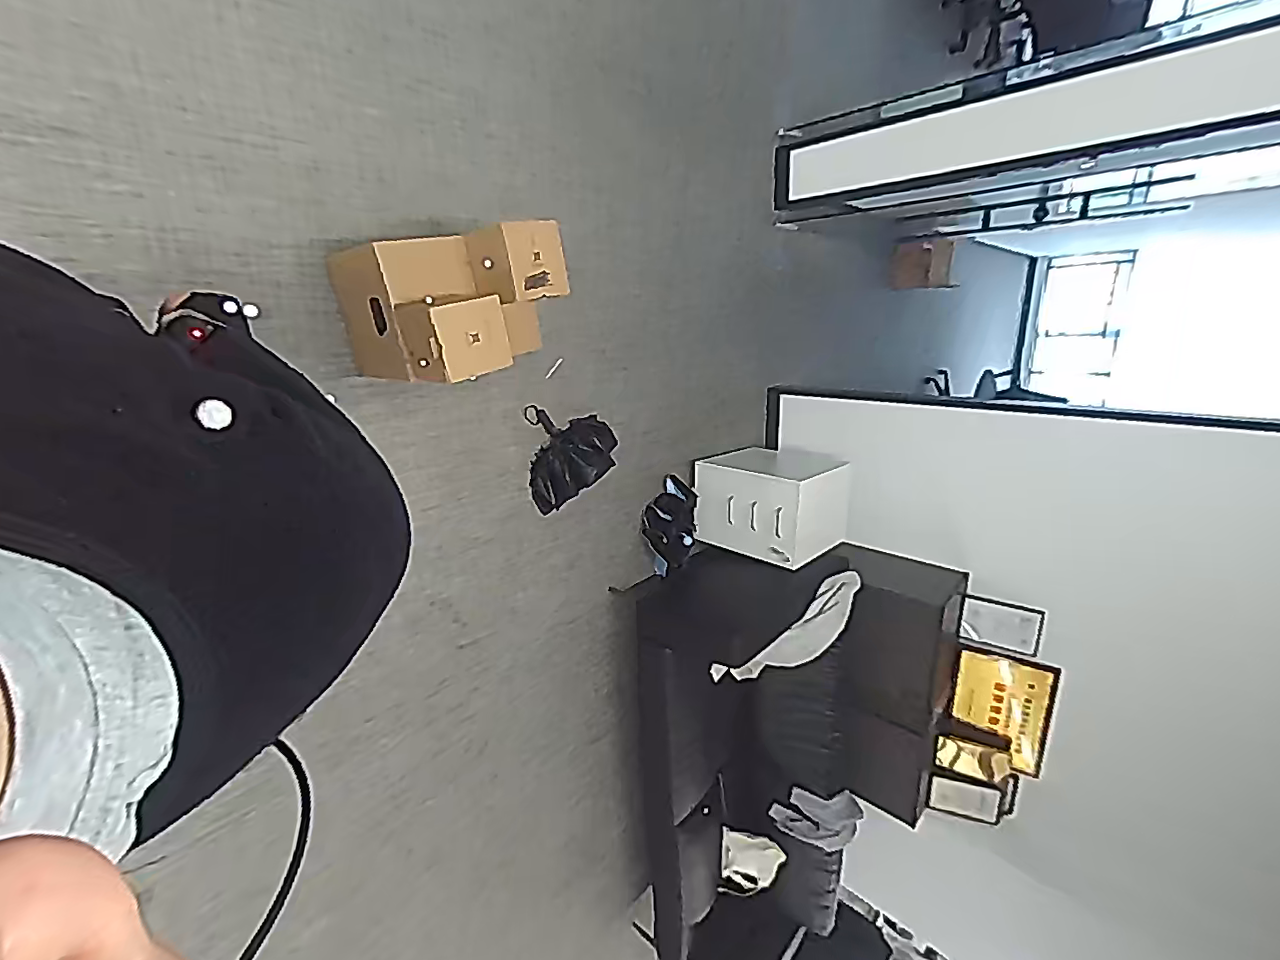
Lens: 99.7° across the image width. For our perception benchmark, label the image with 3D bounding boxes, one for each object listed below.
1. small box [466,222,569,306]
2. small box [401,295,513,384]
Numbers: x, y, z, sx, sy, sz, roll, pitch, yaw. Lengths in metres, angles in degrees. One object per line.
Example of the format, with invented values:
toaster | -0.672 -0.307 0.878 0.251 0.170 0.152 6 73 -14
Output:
small box | -0.305 -0.531 1.344 0.168 0.176 0.179 -26 115 -41
small box | -0.430 -0.331 1.259 0.179 0.176 0.168 -32 125 -40
